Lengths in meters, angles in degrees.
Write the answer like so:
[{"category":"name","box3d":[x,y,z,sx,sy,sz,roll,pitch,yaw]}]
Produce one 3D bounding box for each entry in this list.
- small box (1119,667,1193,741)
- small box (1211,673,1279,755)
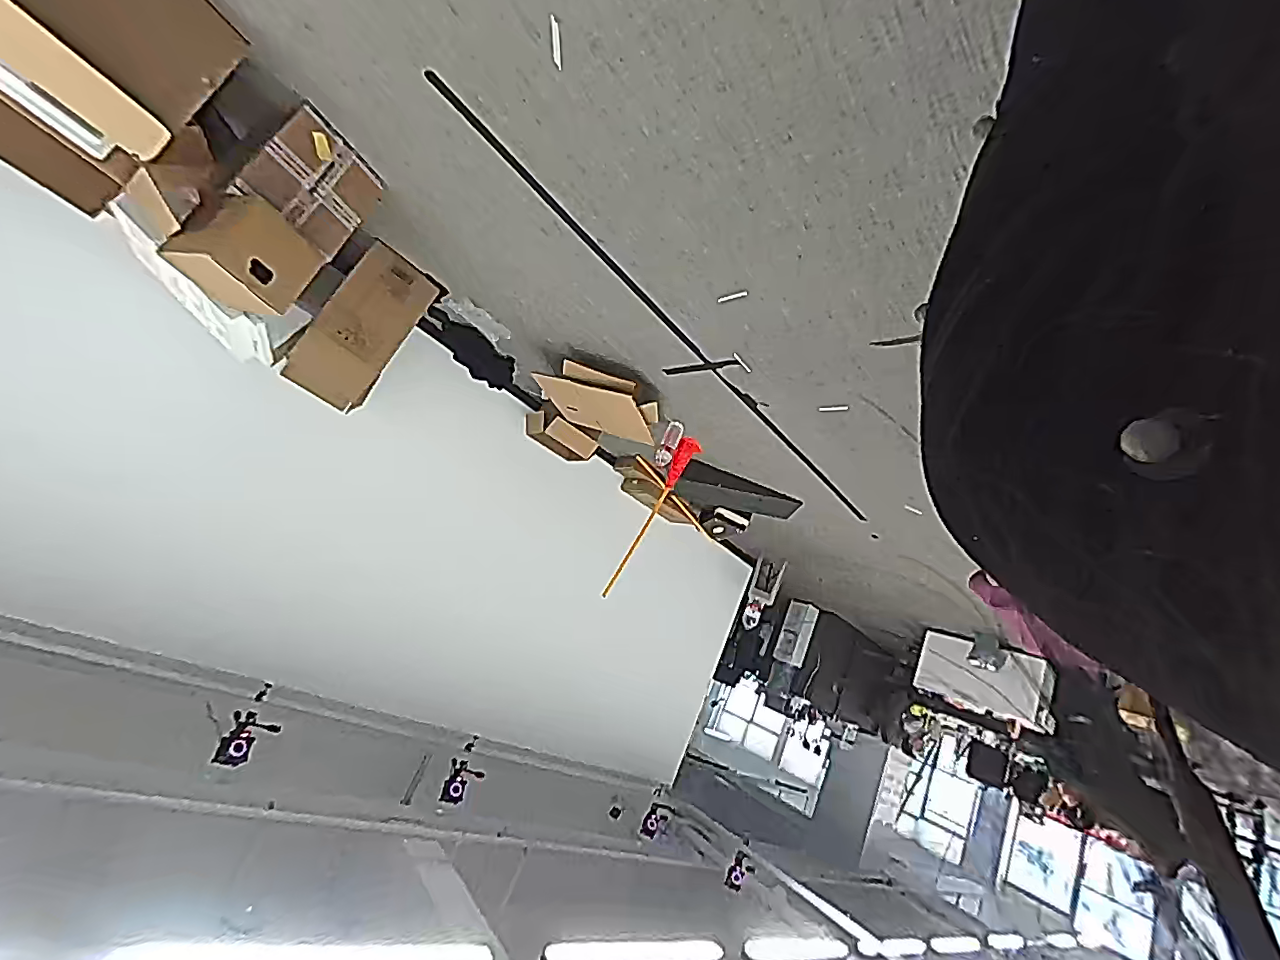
[{"category":"small box","box3d":[1.812,0.781,1.894,0.179,0.176,0.168,38,159,-35]},{"category":"small box","box3d":[1.820,0.691,1.601,0.179,0.176,0.168,36,161,-36]}]
